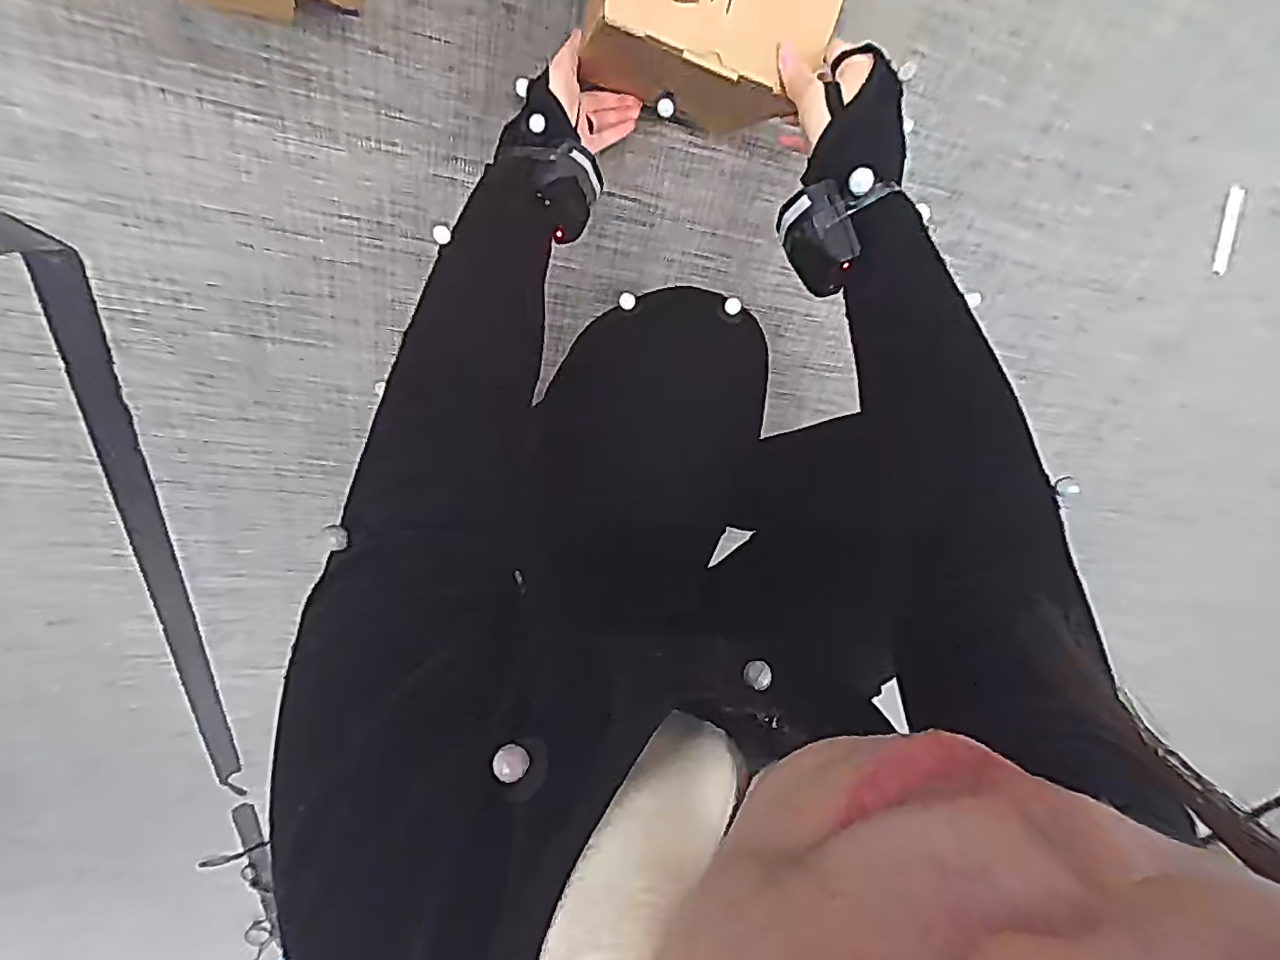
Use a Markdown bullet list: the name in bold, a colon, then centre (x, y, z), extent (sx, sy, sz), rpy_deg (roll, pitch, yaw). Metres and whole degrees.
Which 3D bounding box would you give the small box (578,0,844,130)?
- **small box**: centre (0.054, -0.404, 0.420), extent (0.168, 0.176, 0.179), rpy_deg (9, 114, -18)
